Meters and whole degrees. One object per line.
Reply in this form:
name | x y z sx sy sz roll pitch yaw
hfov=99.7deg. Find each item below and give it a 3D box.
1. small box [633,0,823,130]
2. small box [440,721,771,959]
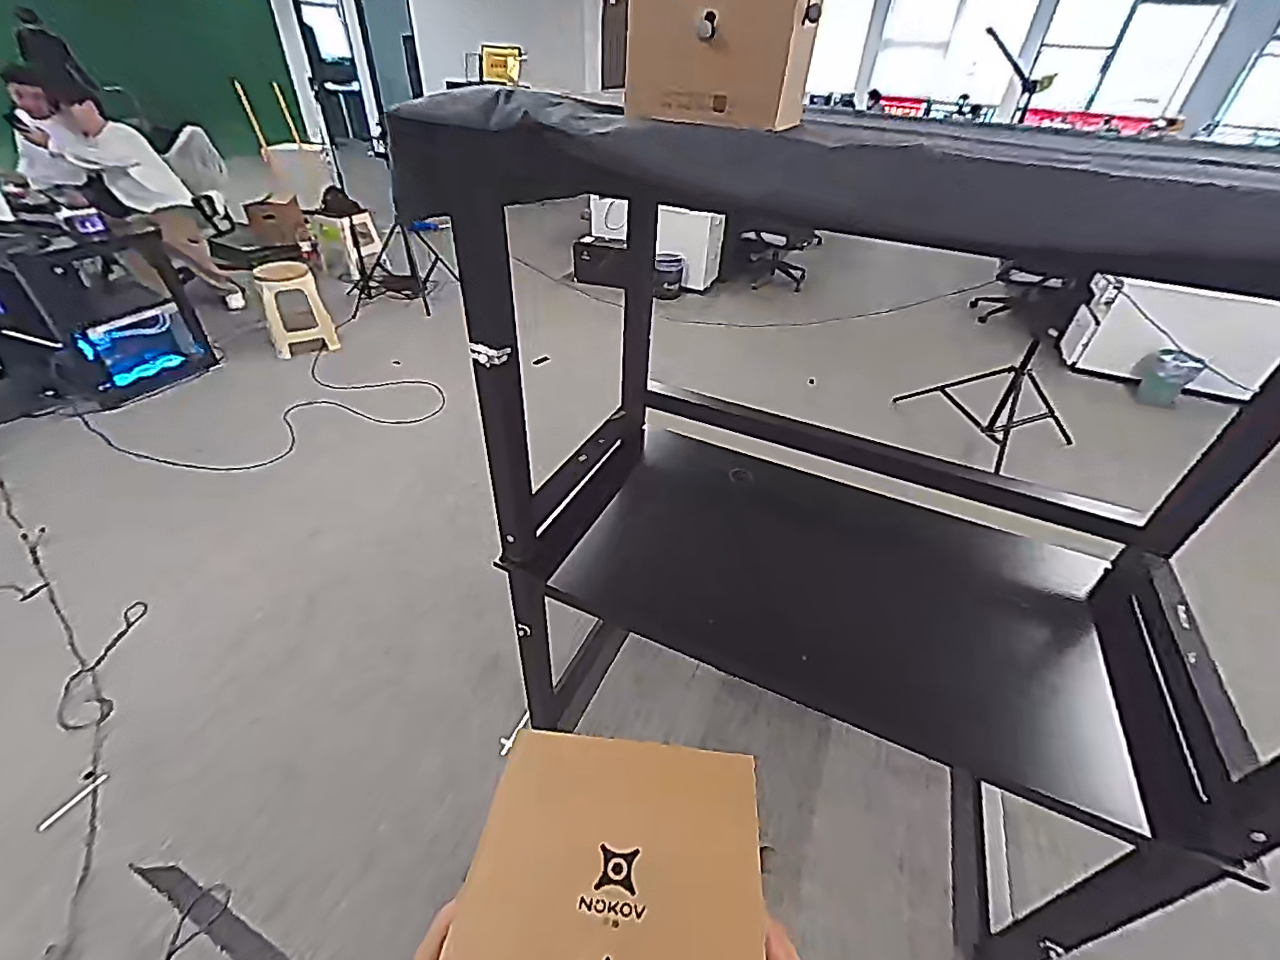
small box | 0.097 -0.478 0.570 0.168 0.176 0.179 16 39 14
small box | -0.013 0.288 0.340 0.168 0.176 0.179 4 32 6
